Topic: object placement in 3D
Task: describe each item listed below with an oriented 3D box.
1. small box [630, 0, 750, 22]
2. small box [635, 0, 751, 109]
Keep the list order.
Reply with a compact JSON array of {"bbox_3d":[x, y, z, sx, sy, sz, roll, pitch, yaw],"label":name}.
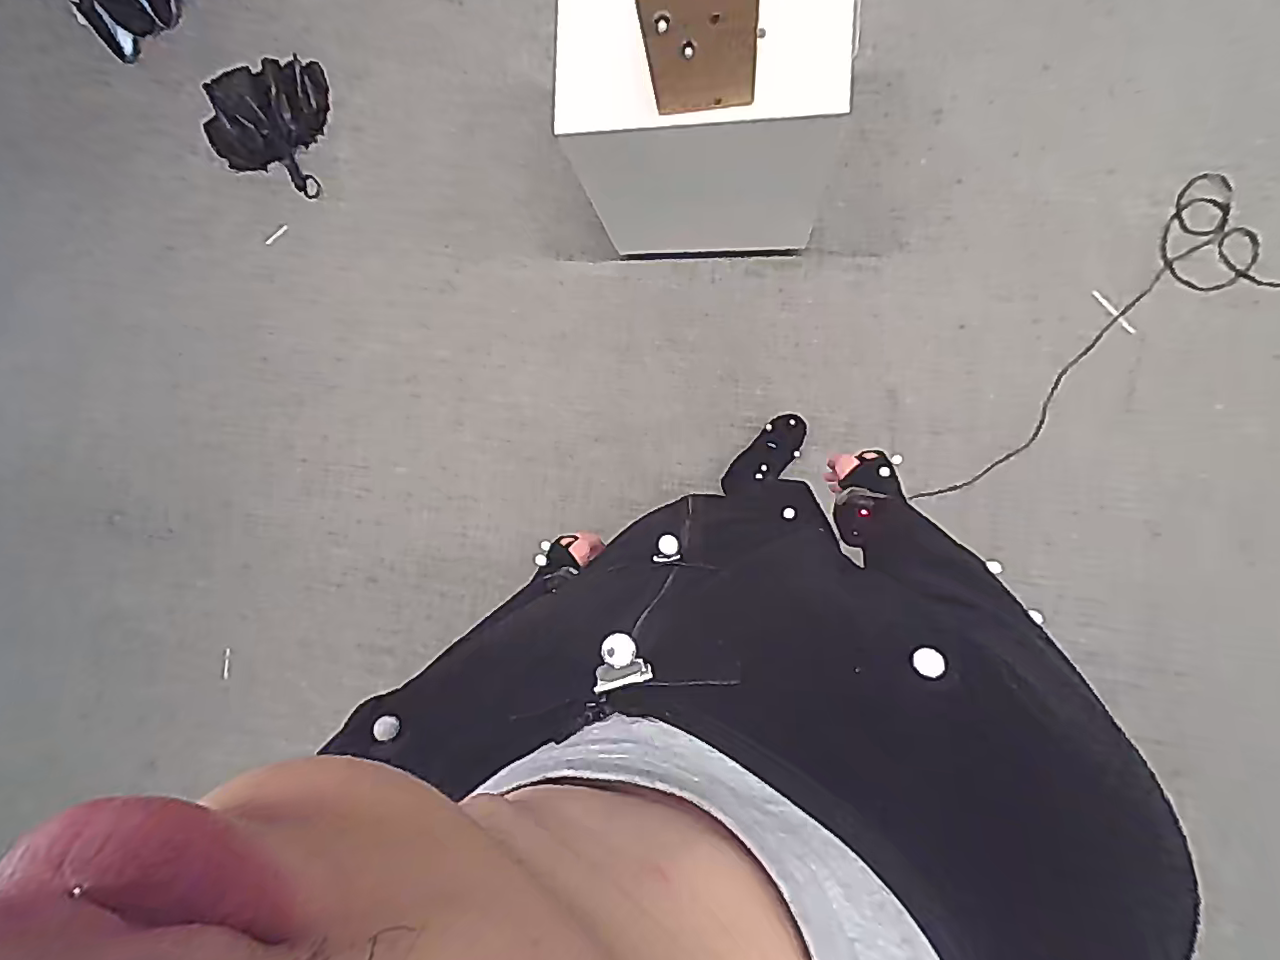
[{"bbox_3d":[0.059,-0.724,0.678,0.168,0.176,0.179,-1,89,9],"label":"small box"},{"bbox_3d":[0.086,-0.725,0.841,0.168,0.176,0.179,-1,89,10],"label":"small box"}]
